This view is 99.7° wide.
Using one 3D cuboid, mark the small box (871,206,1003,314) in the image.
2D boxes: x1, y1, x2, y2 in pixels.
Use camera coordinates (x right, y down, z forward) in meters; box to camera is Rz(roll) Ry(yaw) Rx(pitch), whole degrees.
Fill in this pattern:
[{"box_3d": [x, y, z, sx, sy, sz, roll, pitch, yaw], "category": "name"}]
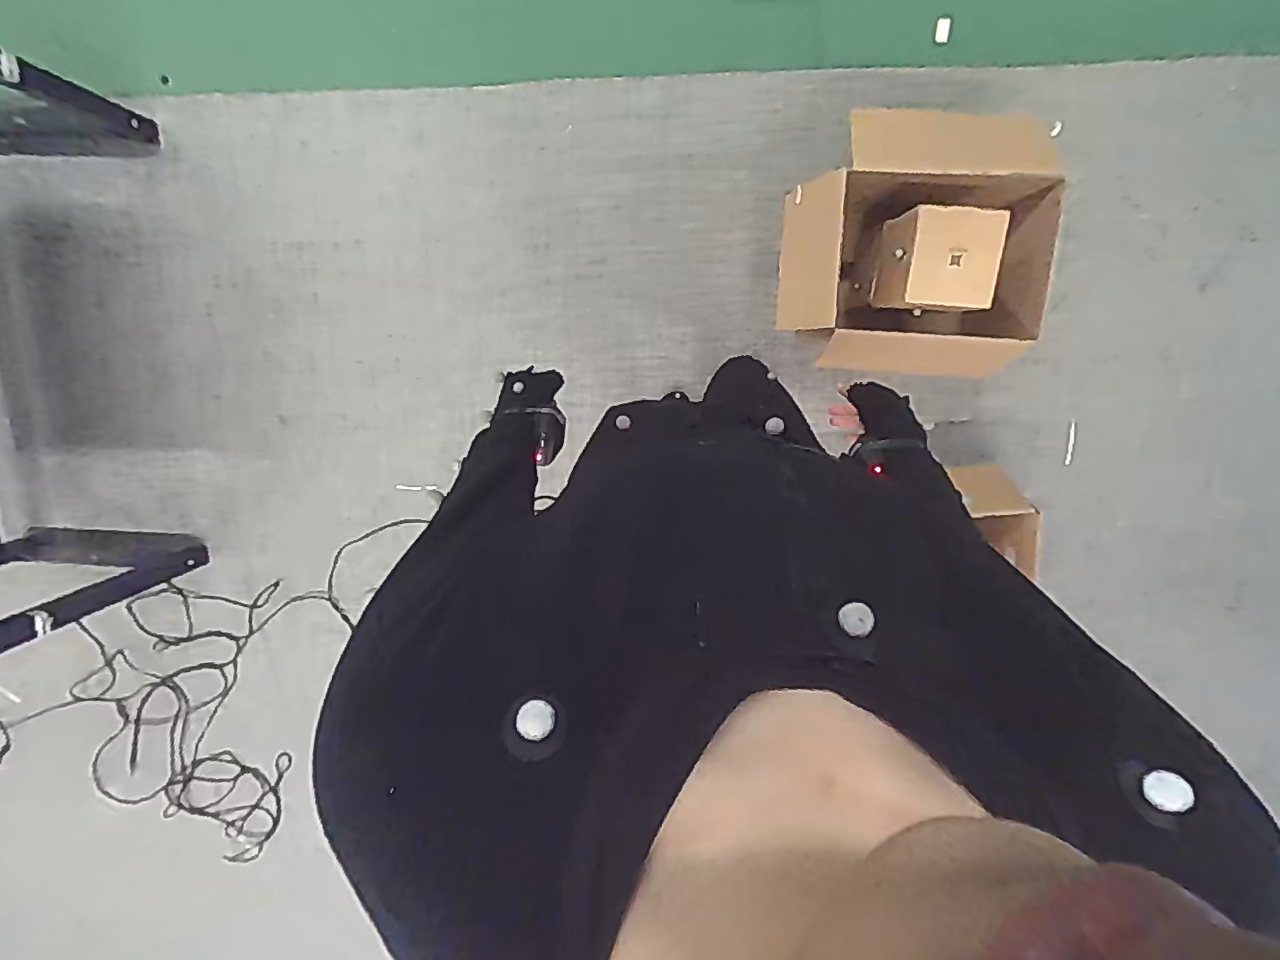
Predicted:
[{"box_3d": [0.590, -0.436, 1.099, 0.168, 0.176, 0.179, 4, 102, 1], "category": "small box"}]
